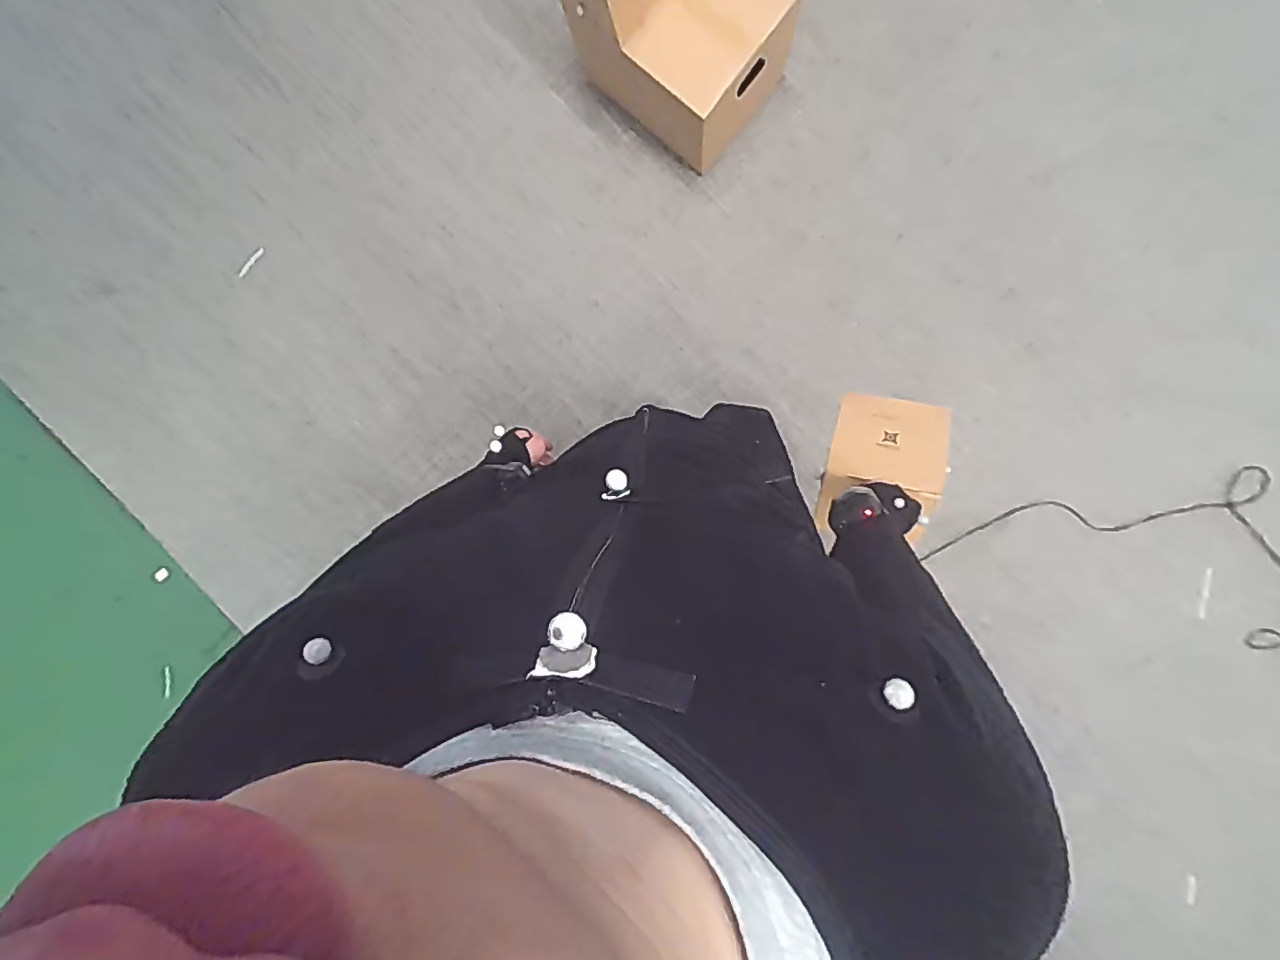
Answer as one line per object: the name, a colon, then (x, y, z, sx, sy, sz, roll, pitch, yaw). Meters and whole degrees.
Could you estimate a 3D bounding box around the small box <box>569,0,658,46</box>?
small box: (-0.051, -0.991, 1.019, 0.168, 0.176, 0.179, 42, 105, -1)

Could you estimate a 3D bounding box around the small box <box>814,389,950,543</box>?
small box: (0.394, -0.019, 0.899, 0.168, 0.176, 0.179, 14, 58, 17)
